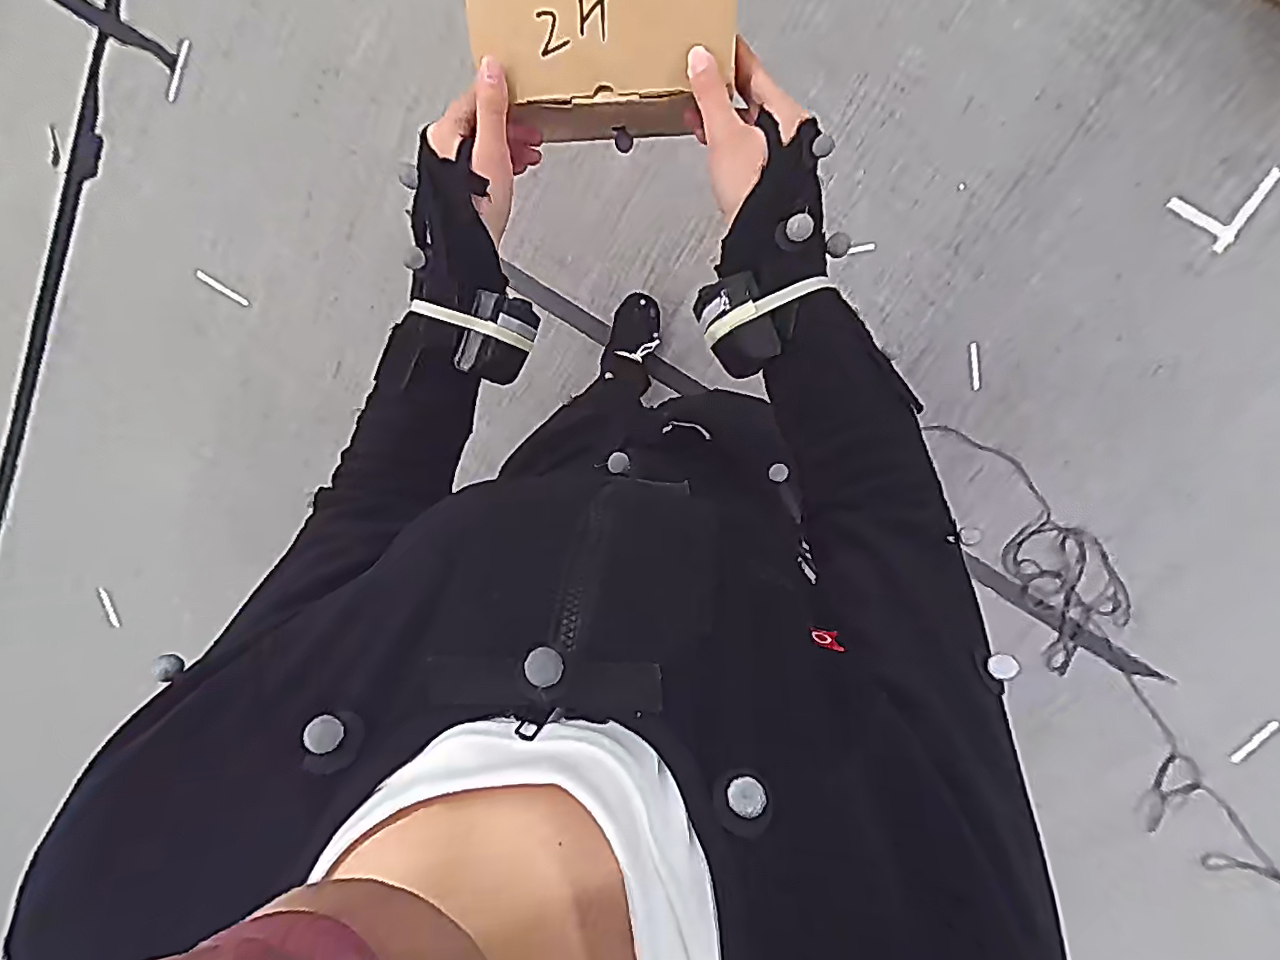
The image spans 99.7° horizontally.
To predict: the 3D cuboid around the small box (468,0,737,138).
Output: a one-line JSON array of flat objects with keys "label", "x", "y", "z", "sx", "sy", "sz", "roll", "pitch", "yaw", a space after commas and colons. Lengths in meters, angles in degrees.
[{"label": "small box", "x": -0.018, "y": -0.357, "z": 0.381, "sx": 0.168, "sy": 0.176, "sz": 0.179, "roll": 1, "pitch": 116, "yaw": 5}]
